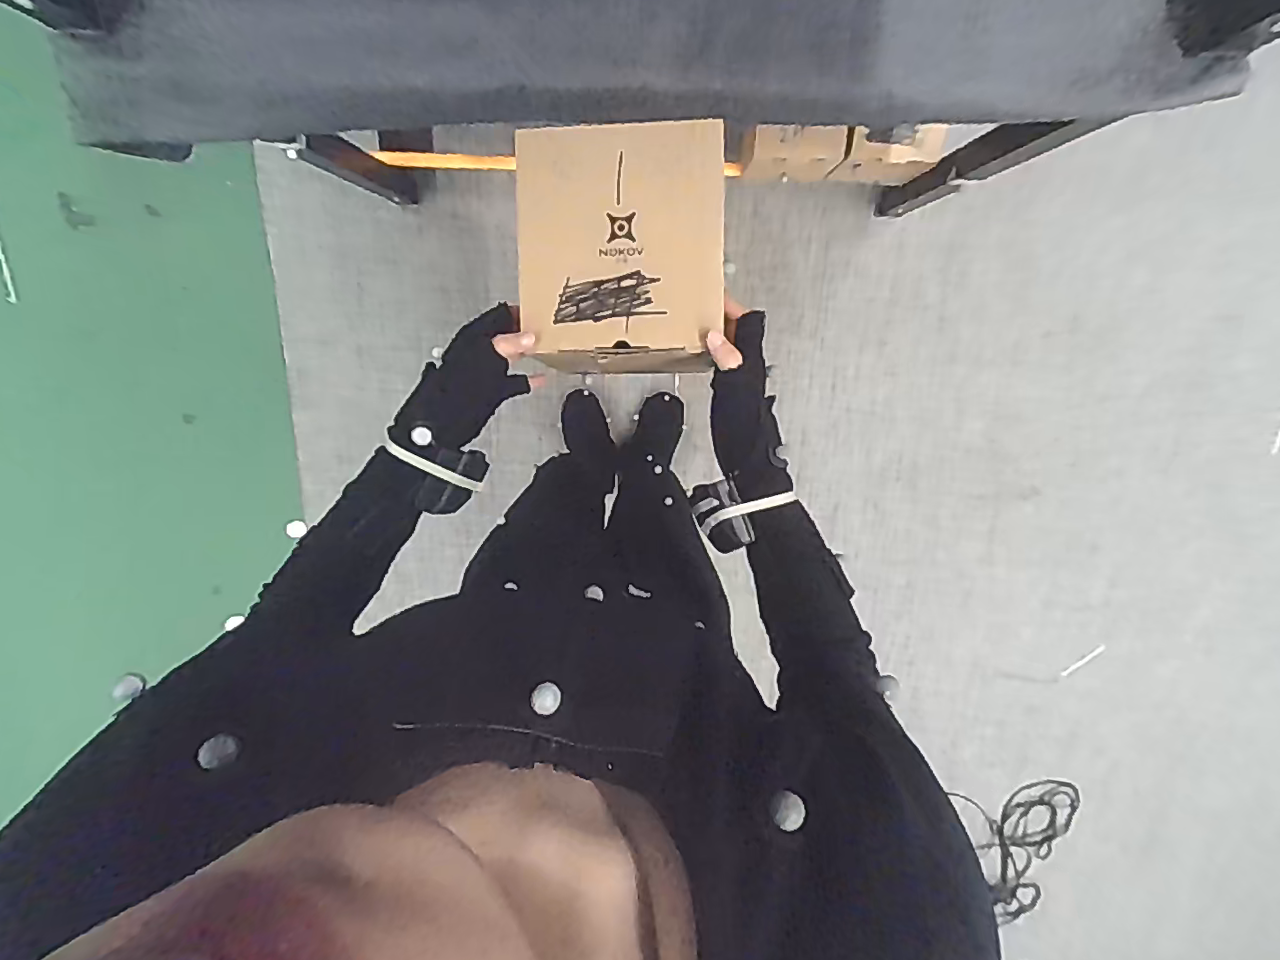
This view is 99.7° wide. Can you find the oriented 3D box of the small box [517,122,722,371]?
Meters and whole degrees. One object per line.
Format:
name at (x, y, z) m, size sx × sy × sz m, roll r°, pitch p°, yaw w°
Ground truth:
small box at (-0.012, -0.200, 0.513) m, size 0.168 × 0.176 × 0.179 m, roll 0°, pitch 93°, yaw 3°
